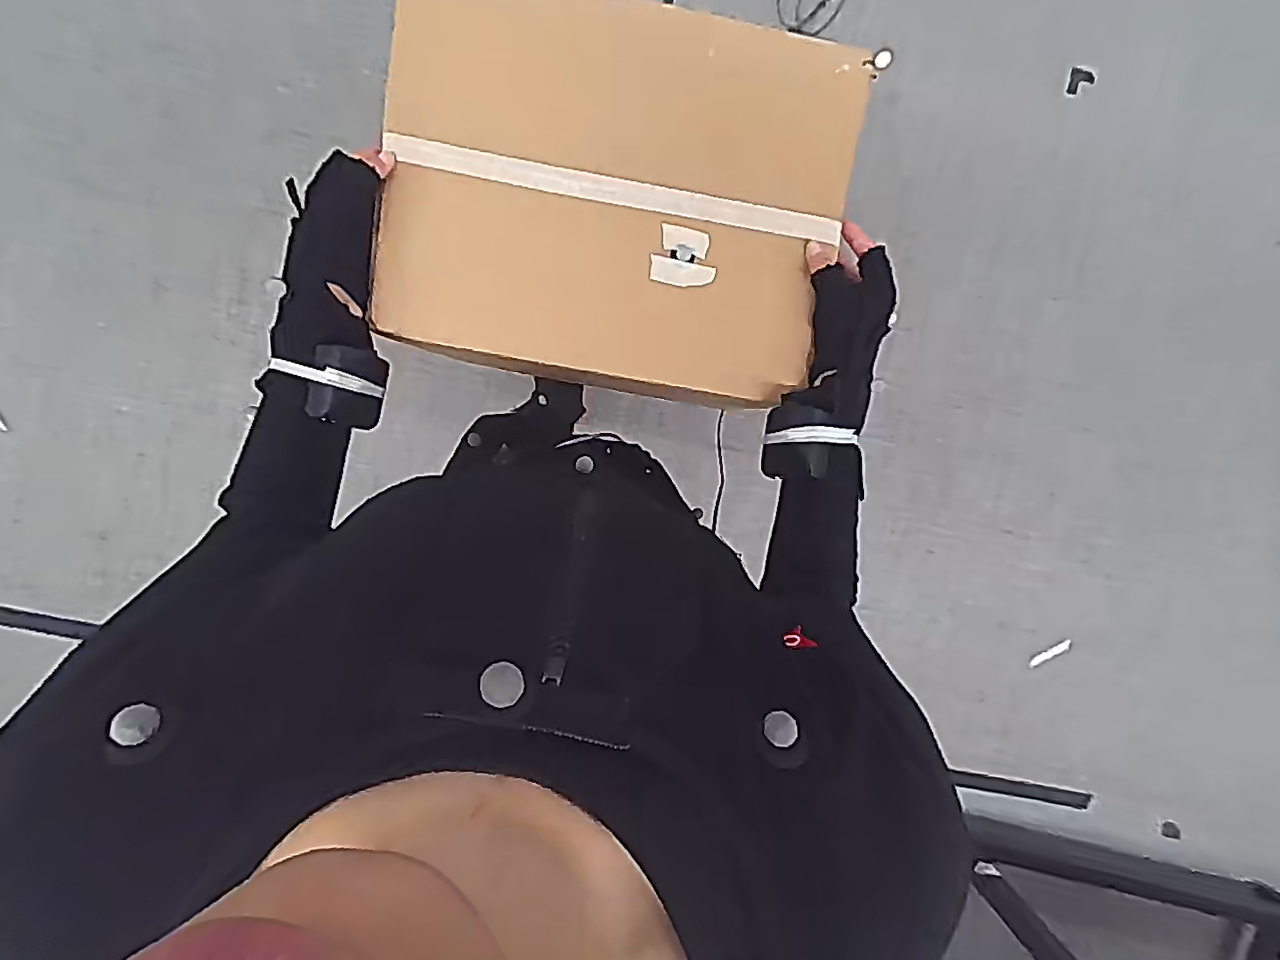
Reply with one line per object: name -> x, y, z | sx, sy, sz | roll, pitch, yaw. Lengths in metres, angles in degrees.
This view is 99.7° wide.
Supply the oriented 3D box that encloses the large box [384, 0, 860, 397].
large box -> -0.028, -0.283, 0.638 | 0.408, 0.320, 0.320 | 9, 98, -4
